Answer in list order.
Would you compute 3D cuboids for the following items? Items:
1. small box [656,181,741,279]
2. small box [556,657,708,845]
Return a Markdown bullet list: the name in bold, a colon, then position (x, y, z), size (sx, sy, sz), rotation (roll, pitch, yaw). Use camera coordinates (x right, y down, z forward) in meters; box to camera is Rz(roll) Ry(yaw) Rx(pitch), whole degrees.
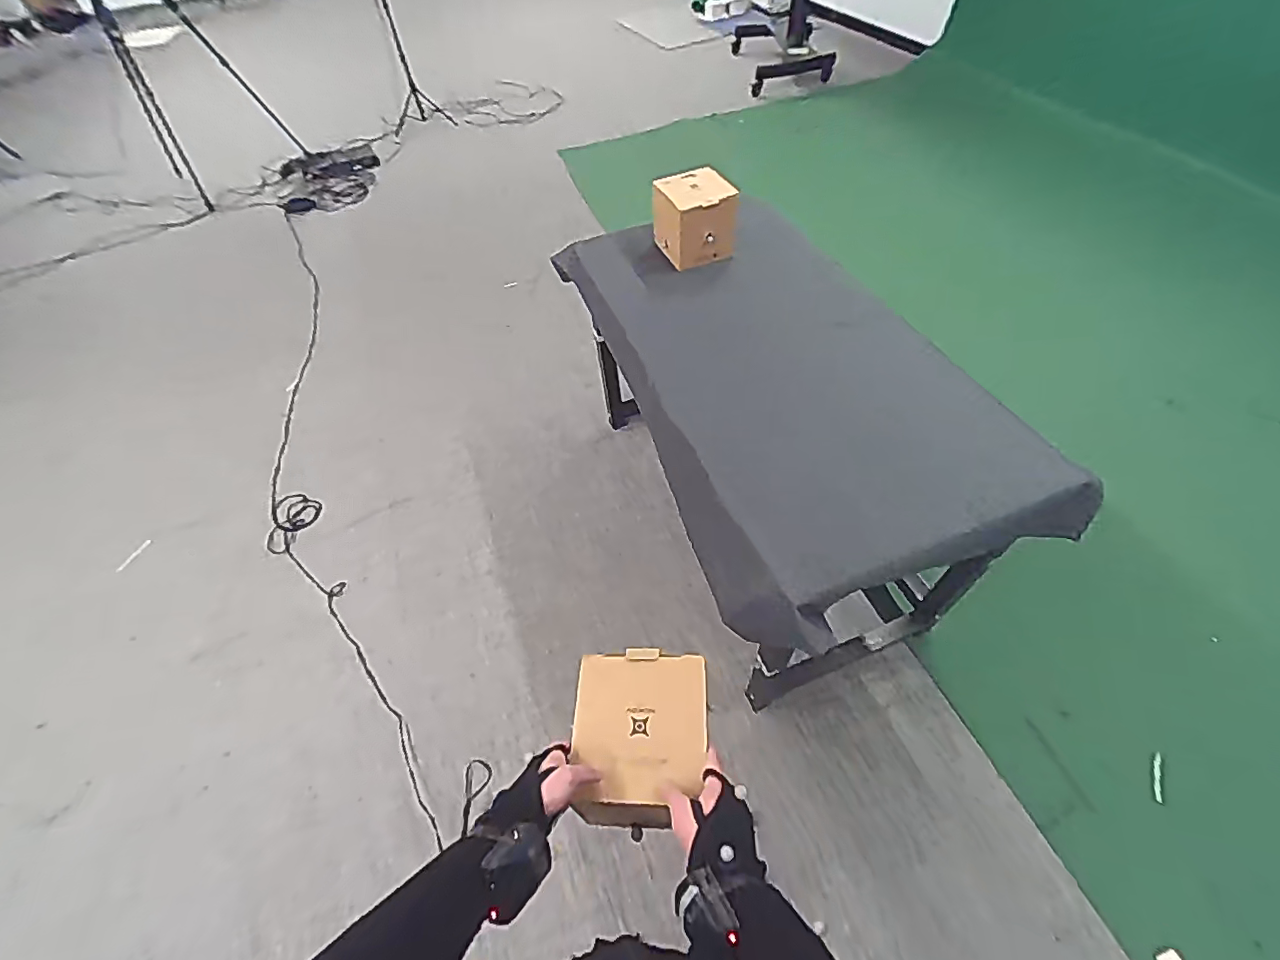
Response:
- **small box**: position (0.153, -0.658, 1.443), size (0.168, 0.176, 0.179), rotation (-19, 55, -10)
- **small box**: position (0.003, 0.351, 0.703), size (0.168, 0.176, 0.179), rotation (-1, 48, 8)
